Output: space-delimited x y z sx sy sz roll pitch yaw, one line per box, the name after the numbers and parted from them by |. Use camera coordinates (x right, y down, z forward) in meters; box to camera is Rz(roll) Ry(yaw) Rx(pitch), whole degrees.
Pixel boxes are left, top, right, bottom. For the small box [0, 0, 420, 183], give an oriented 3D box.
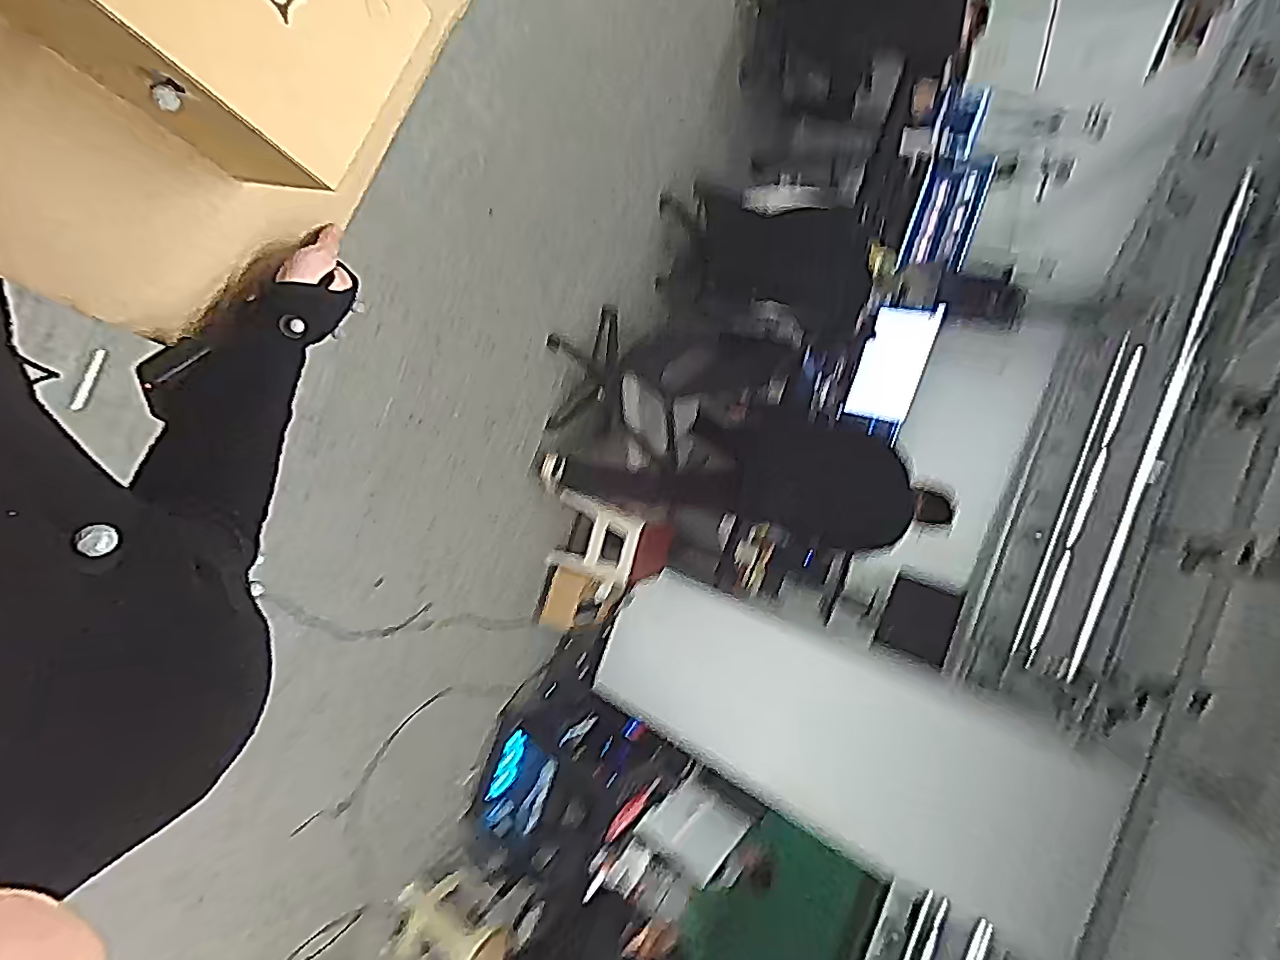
-0.311 -0.355 0.397 0.179 0.176 0.168 30 84 -58 | small box
